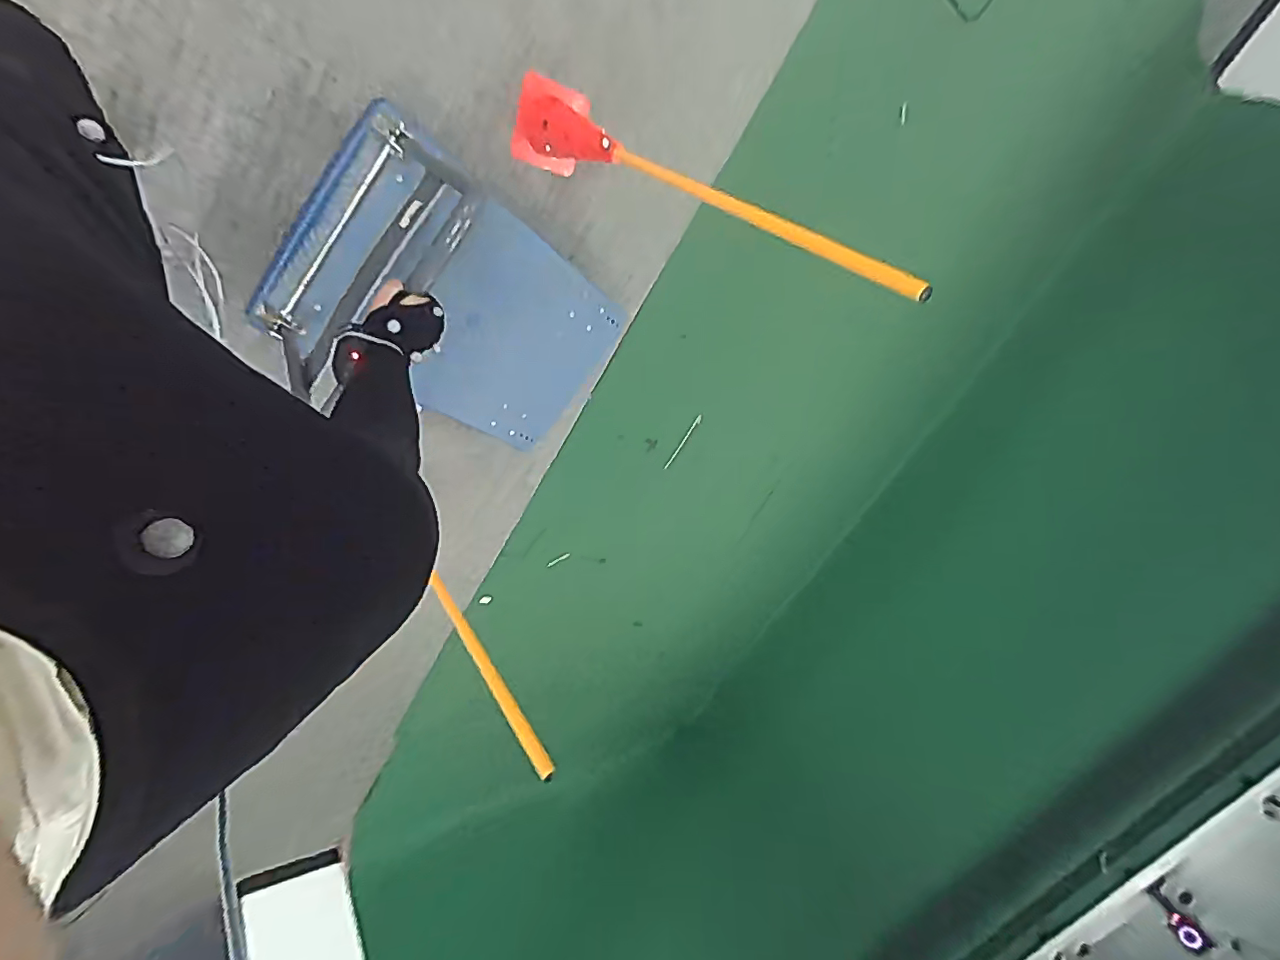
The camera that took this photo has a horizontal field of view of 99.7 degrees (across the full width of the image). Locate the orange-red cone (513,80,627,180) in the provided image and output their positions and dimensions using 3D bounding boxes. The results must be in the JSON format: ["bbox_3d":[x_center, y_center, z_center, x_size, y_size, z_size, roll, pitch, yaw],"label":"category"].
[{"bbox_3d":[-0.146,-0.850,1.366,0.198,0.360,0.199,-4,126,-40],"label":"orange-red cone"}]
